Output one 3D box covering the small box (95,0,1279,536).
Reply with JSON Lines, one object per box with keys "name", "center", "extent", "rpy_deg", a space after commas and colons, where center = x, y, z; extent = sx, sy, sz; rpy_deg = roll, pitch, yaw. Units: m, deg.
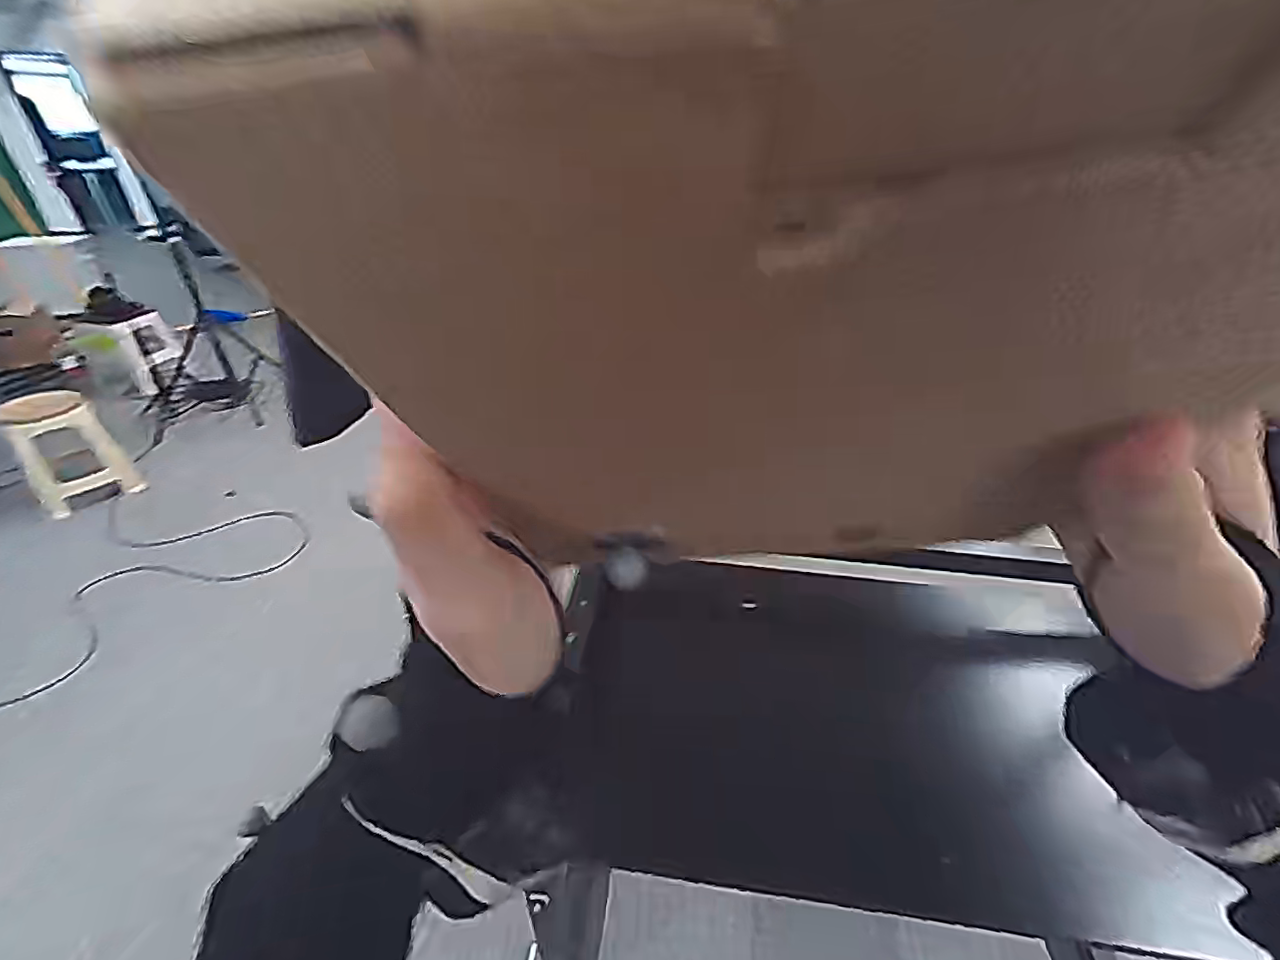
{"name": "small box", "center": [0.036, -0.089, 0.148], "extent": [0.168, 0.176, 0.179], "rpy_deg": [-4, 65, 4]}
